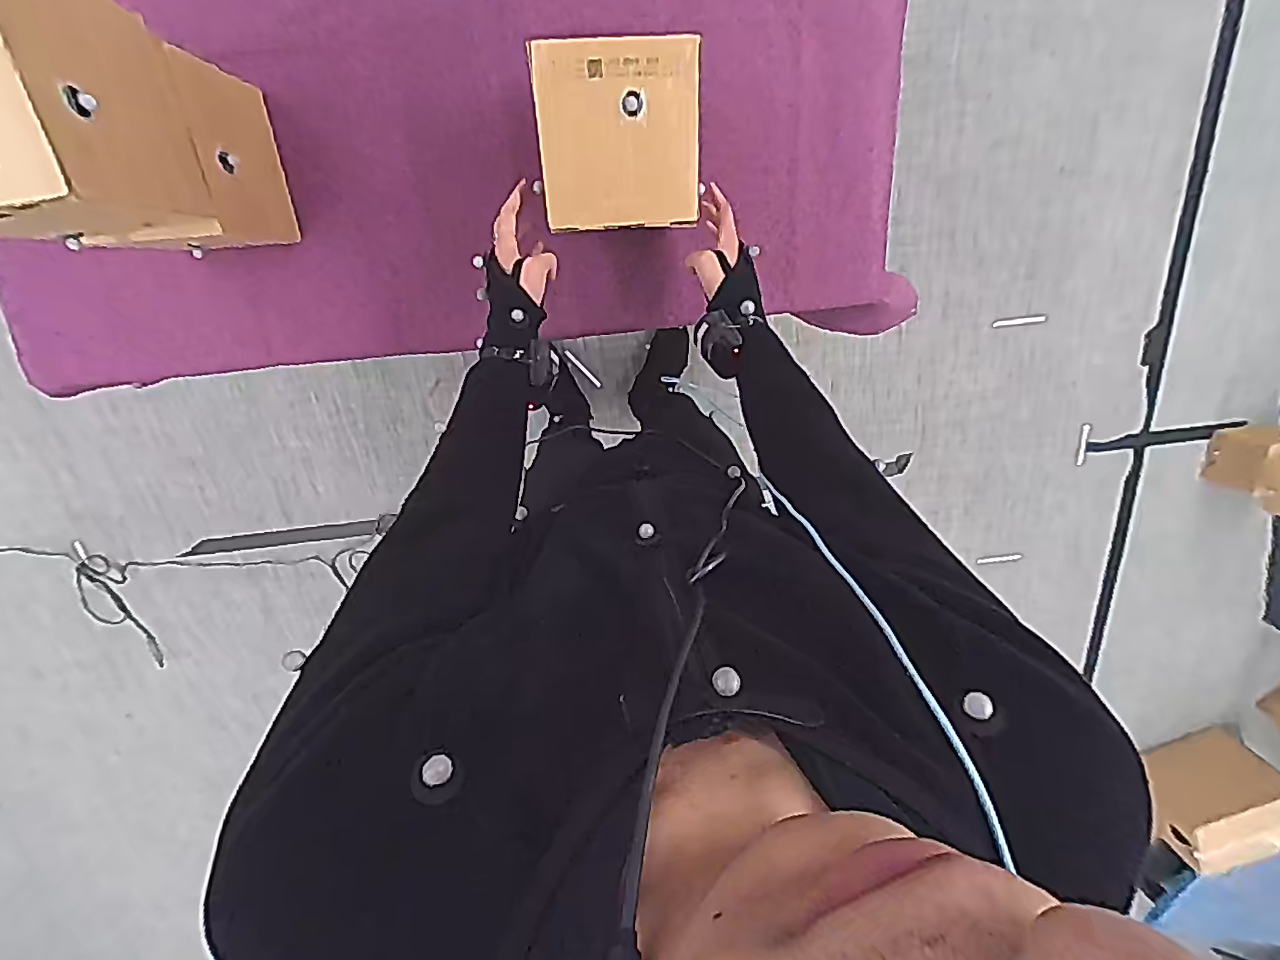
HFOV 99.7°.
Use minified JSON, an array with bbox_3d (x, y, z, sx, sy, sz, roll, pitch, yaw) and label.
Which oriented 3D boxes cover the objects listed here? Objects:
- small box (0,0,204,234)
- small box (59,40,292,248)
[{"bbox_3d":[-0.532,-0.314,0.461,0.168,0.176,0.179,-9,111,-1],"label":"small box"},{"bbox_3d":[-0.538,-0.363,0.618,0.168,0.176,0.179,-5,111,-3],"label":"small box"}]
